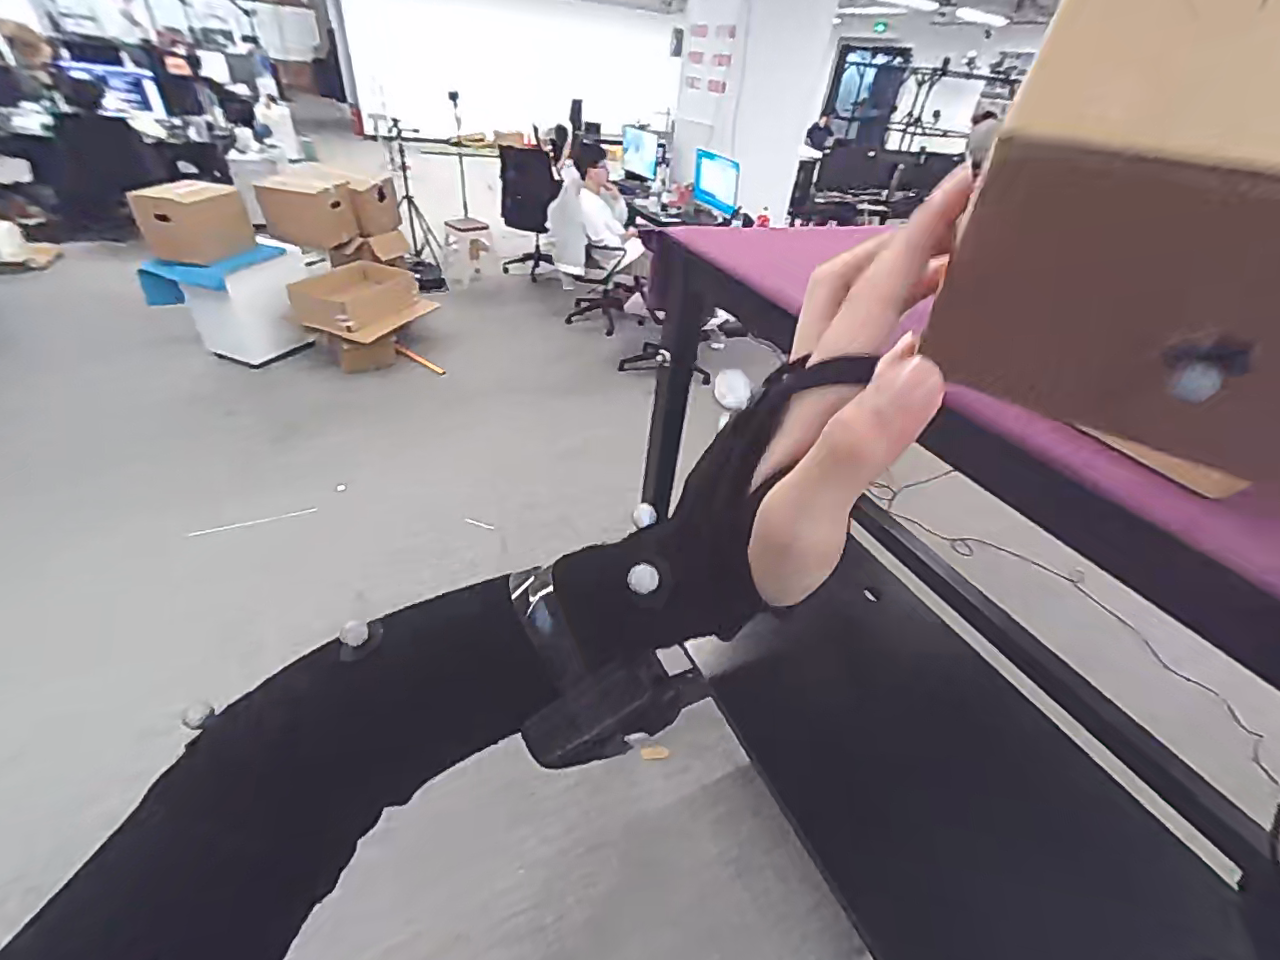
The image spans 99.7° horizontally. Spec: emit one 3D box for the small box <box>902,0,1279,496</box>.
[{"bbox_3d":[0.203,-0.102,0.156,0.179,0.168,0.176,28,2,22],"label":"small box"}]
